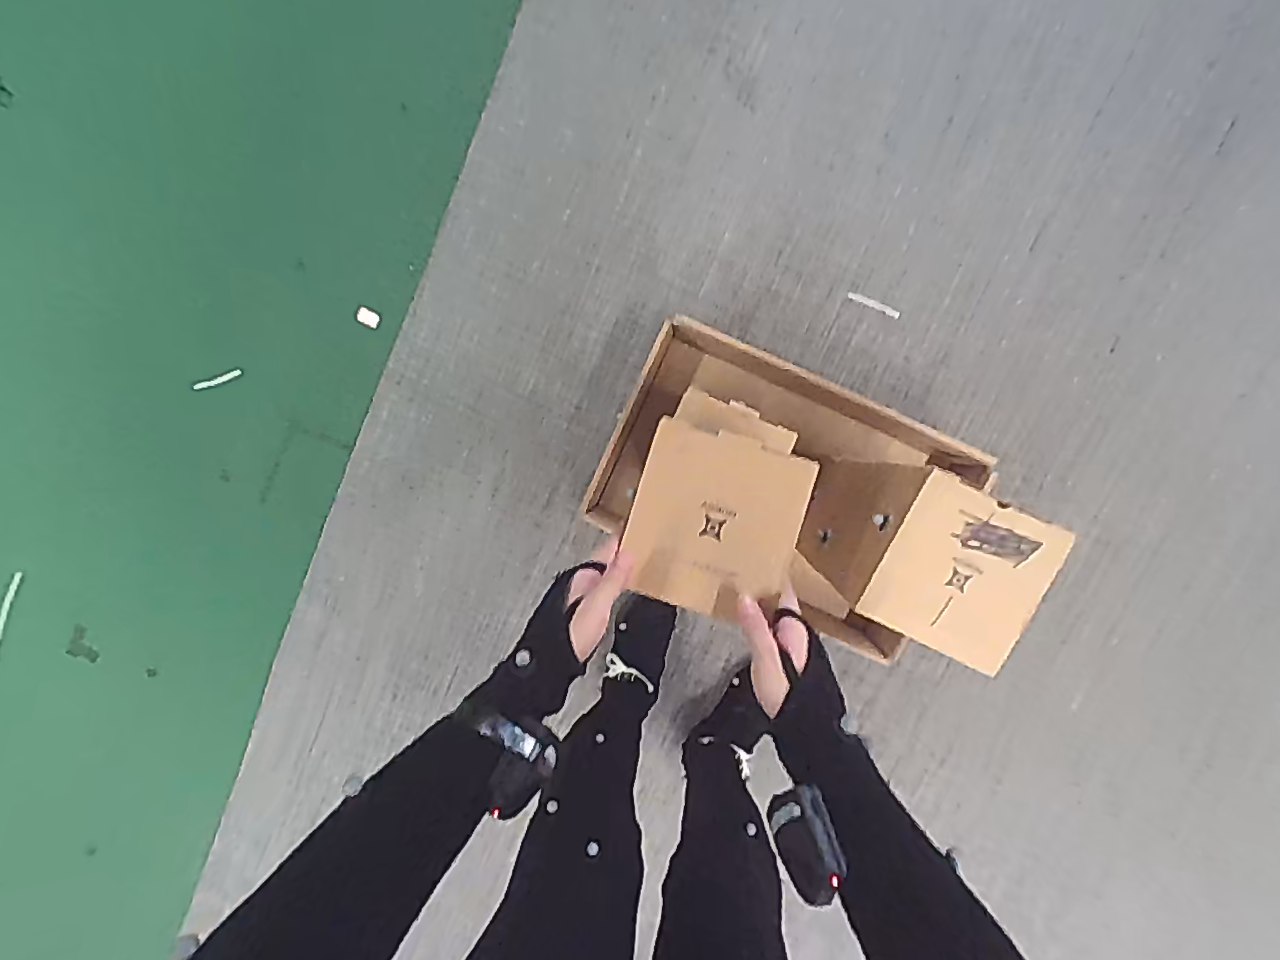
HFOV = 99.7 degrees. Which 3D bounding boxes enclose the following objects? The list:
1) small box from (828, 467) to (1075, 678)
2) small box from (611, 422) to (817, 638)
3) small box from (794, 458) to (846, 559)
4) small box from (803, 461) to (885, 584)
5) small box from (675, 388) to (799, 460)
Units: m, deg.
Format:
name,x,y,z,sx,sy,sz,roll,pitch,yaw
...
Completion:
name,x,y,z,sx,sy,sz,roll,pitch,yaw
small box,0.351,0.095,0.652,0.168,0.176,0.179,26,97,3
small box,0.075,0.051,0.612,0.168,0.176,0.179,18,89,3
small box,0.376,0.072,0.980,0.168,0.176,0.179,26,96,3
small box,0.364,0.084,0.816,0.168,0.176,0.179,27,96,3
small box,0.114,-0.021,0.824,0.168,0.176,0.179,24,96,2
